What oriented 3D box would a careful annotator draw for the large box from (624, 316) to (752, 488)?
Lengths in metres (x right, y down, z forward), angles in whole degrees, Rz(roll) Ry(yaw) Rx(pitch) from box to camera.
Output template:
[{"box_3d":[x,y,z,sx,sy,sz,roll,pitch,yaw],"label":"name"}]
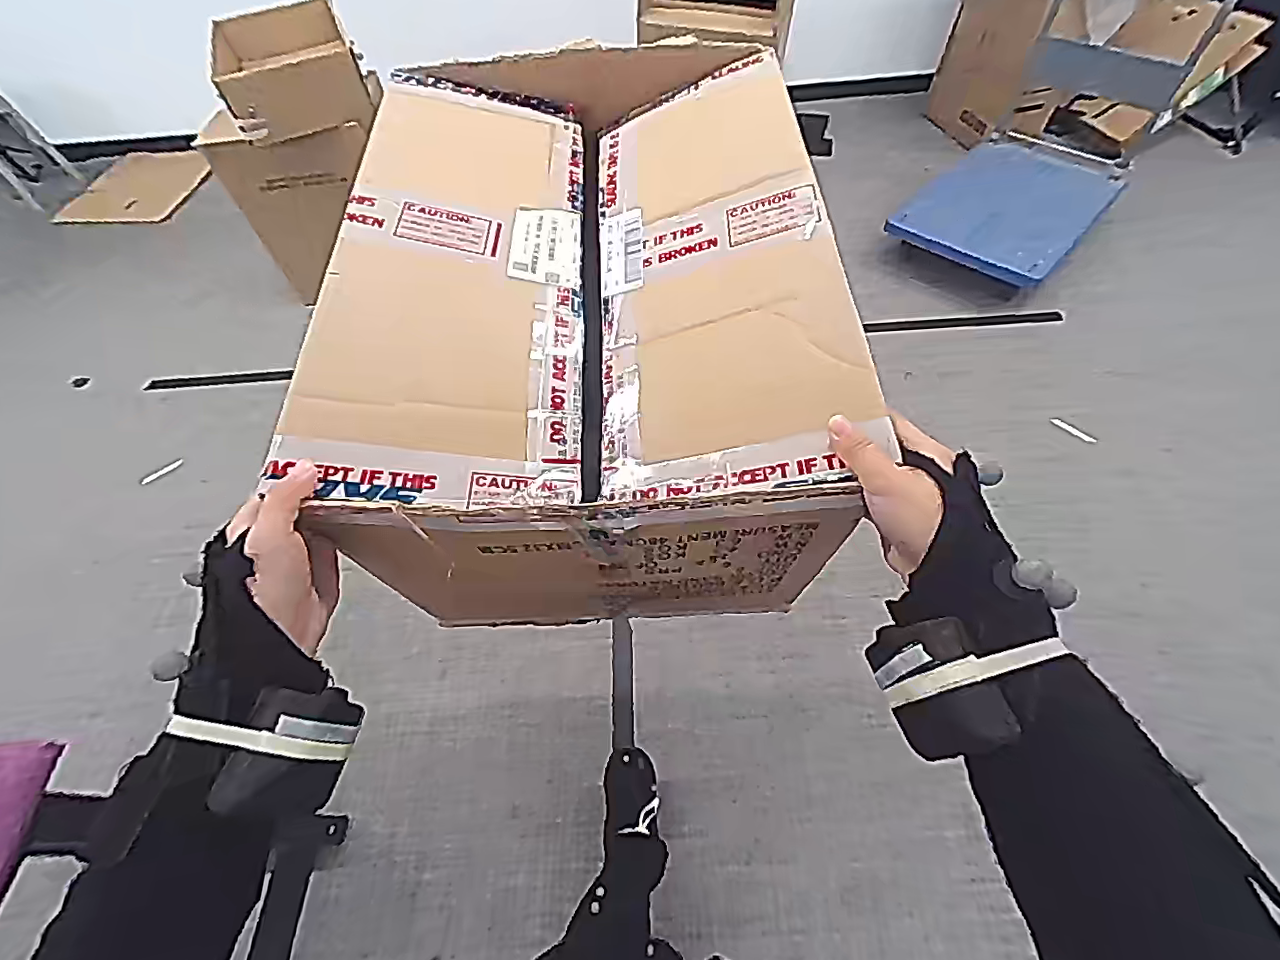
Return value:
[{"box_3d":[0.127,-0.232,1.621,0.320,0.320,0.408,-5,56,1],"label":"large box"}]
